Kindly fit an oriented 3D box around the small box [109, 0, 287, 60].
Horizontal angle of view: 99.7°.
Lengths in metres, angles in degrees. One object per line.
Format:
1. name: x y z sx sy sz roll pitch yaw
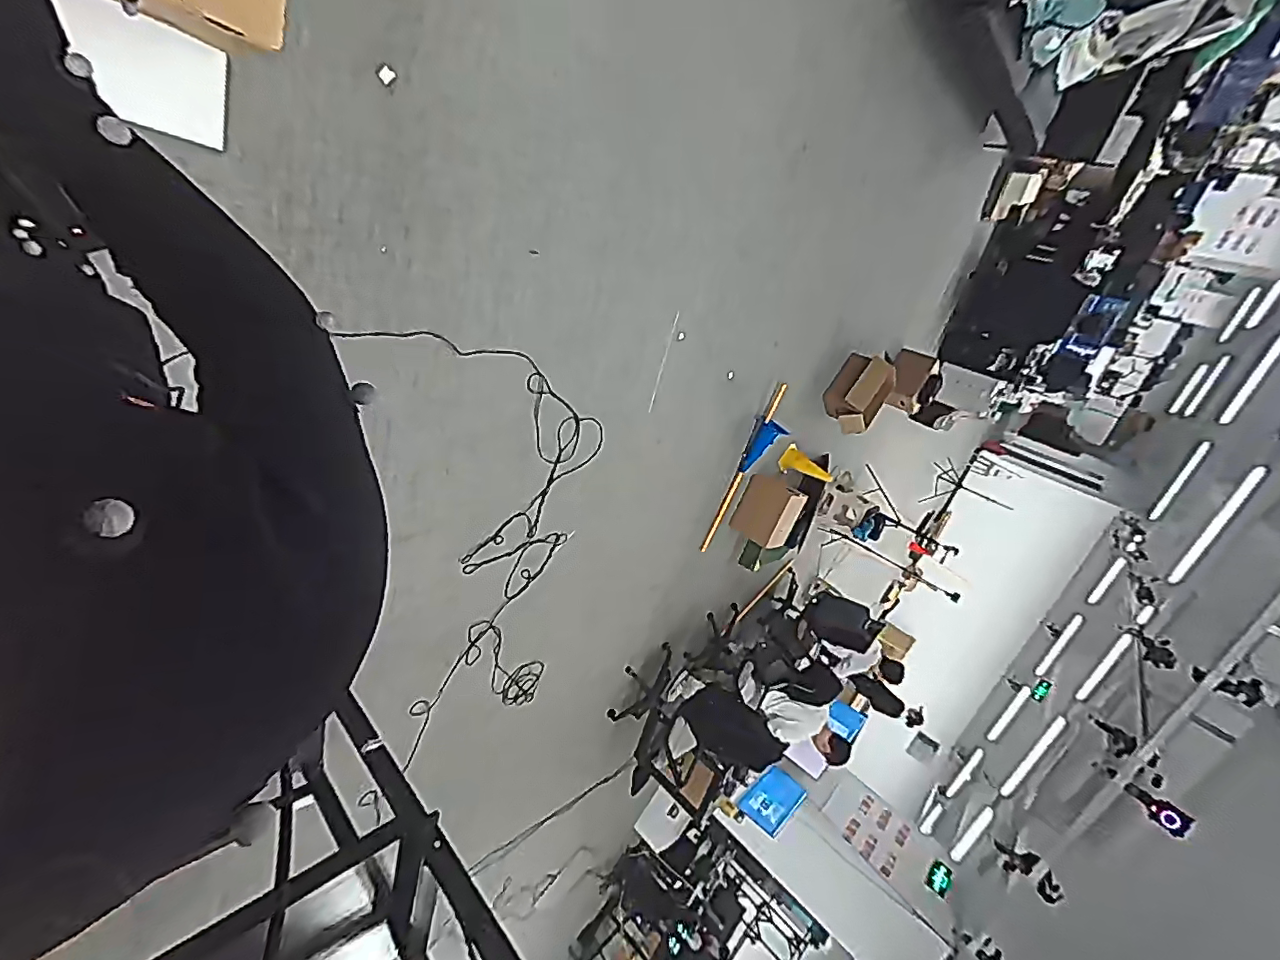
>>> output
1. small box: -0.431 -0.519 0.481 0.168 0.176 0.179 -4 121 -50
